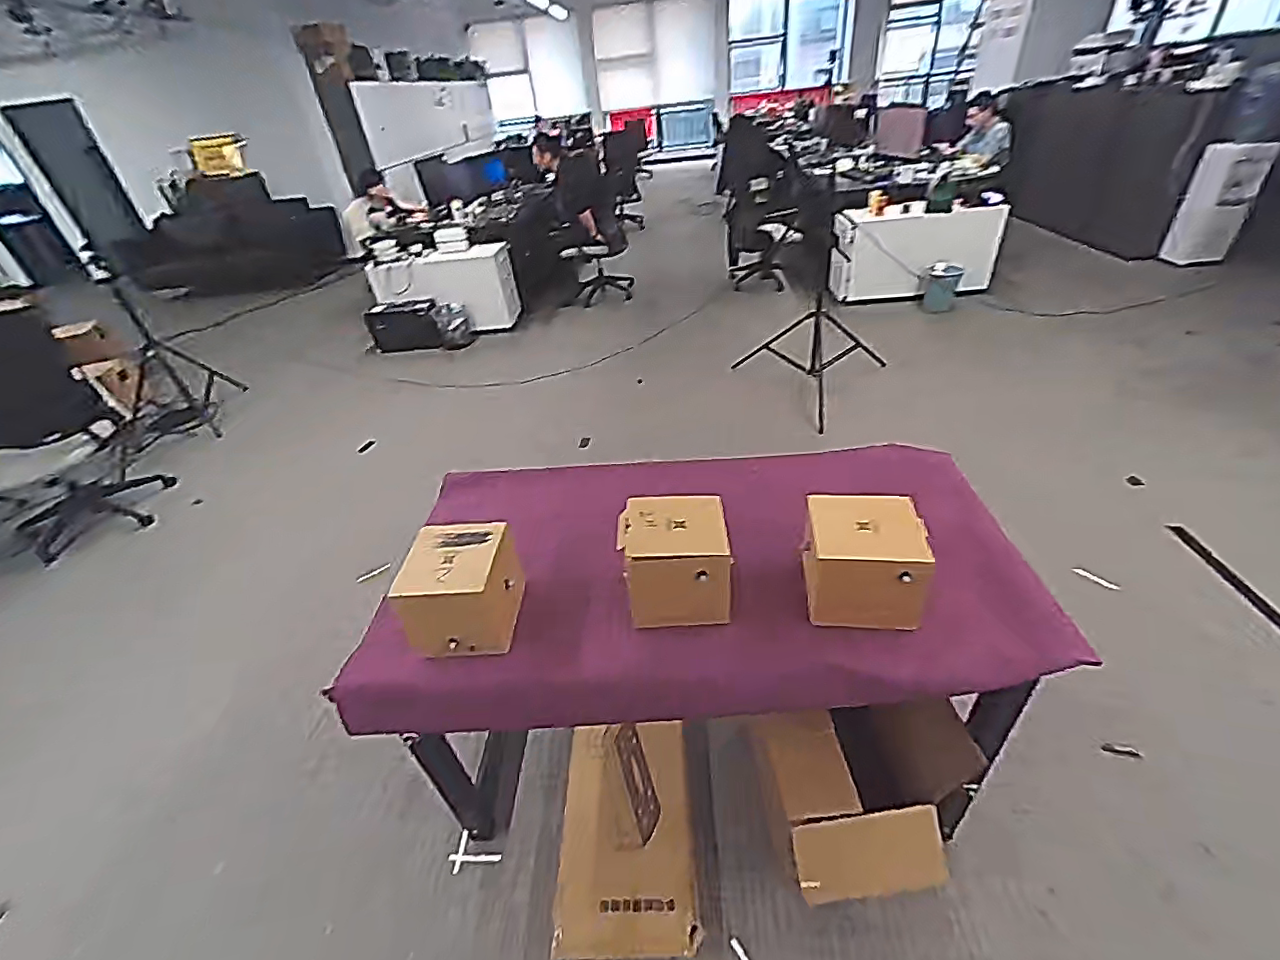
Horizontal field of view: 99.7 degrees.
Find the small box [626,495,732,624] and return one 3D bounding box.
[{"bbox_3d":[0.072,0.146,0.990,0.179,0.176,0.168,-4,34,4],"label":"small box"}]

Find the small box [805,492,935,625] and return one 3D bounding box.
[{"bbox_3d":[0.387,0.137,0.949,0.179,0.176,0.168,0,37,10],"label":"small box"}]
